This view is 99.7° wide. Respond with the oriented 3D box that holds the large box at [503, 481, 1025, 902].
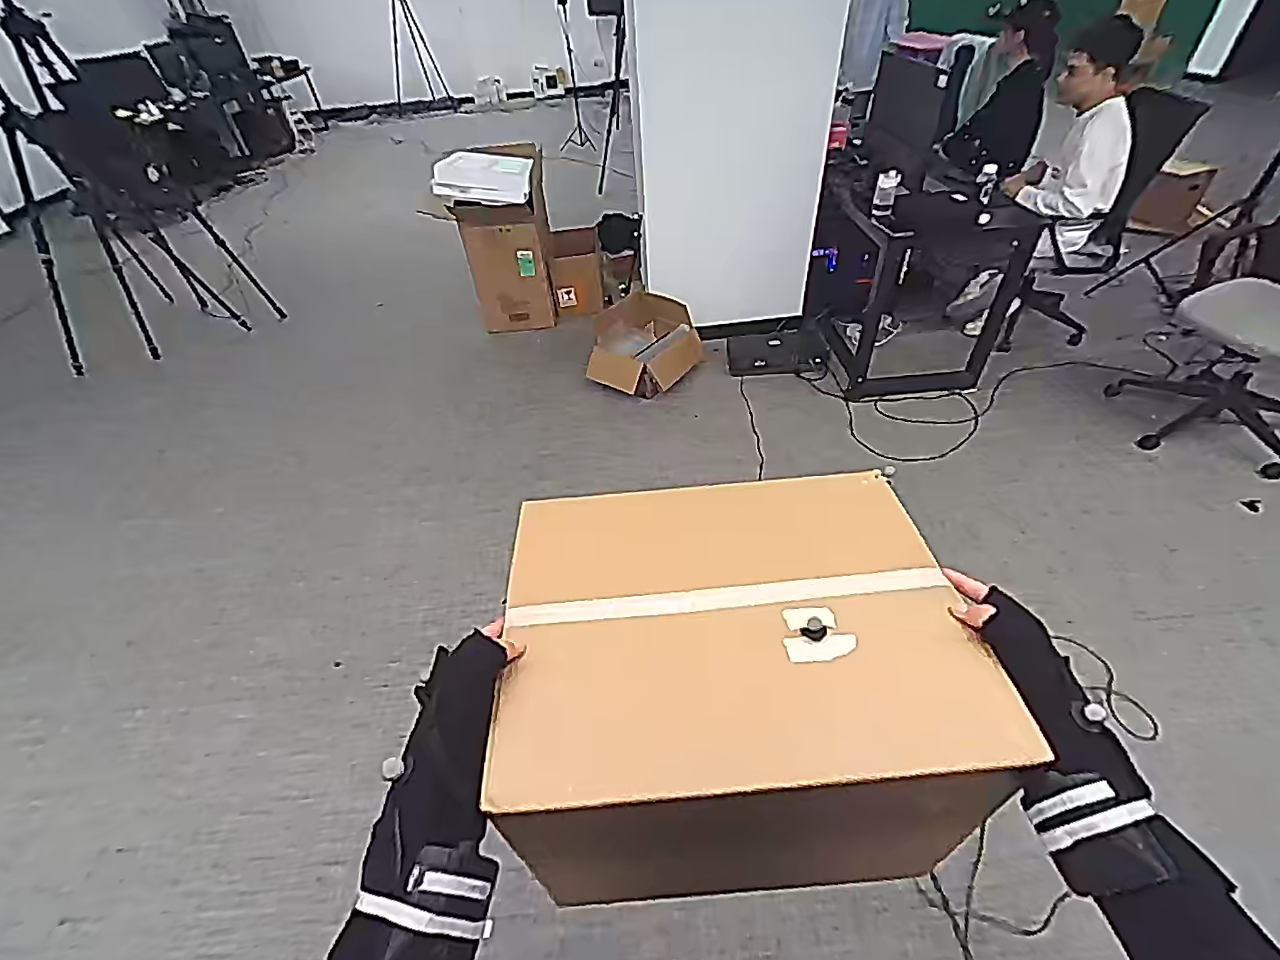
[{"bbox_3d":[0.091,0.231,0.608,0.408,0.320,0.320,-5,42,0],"label":"large box"}]
